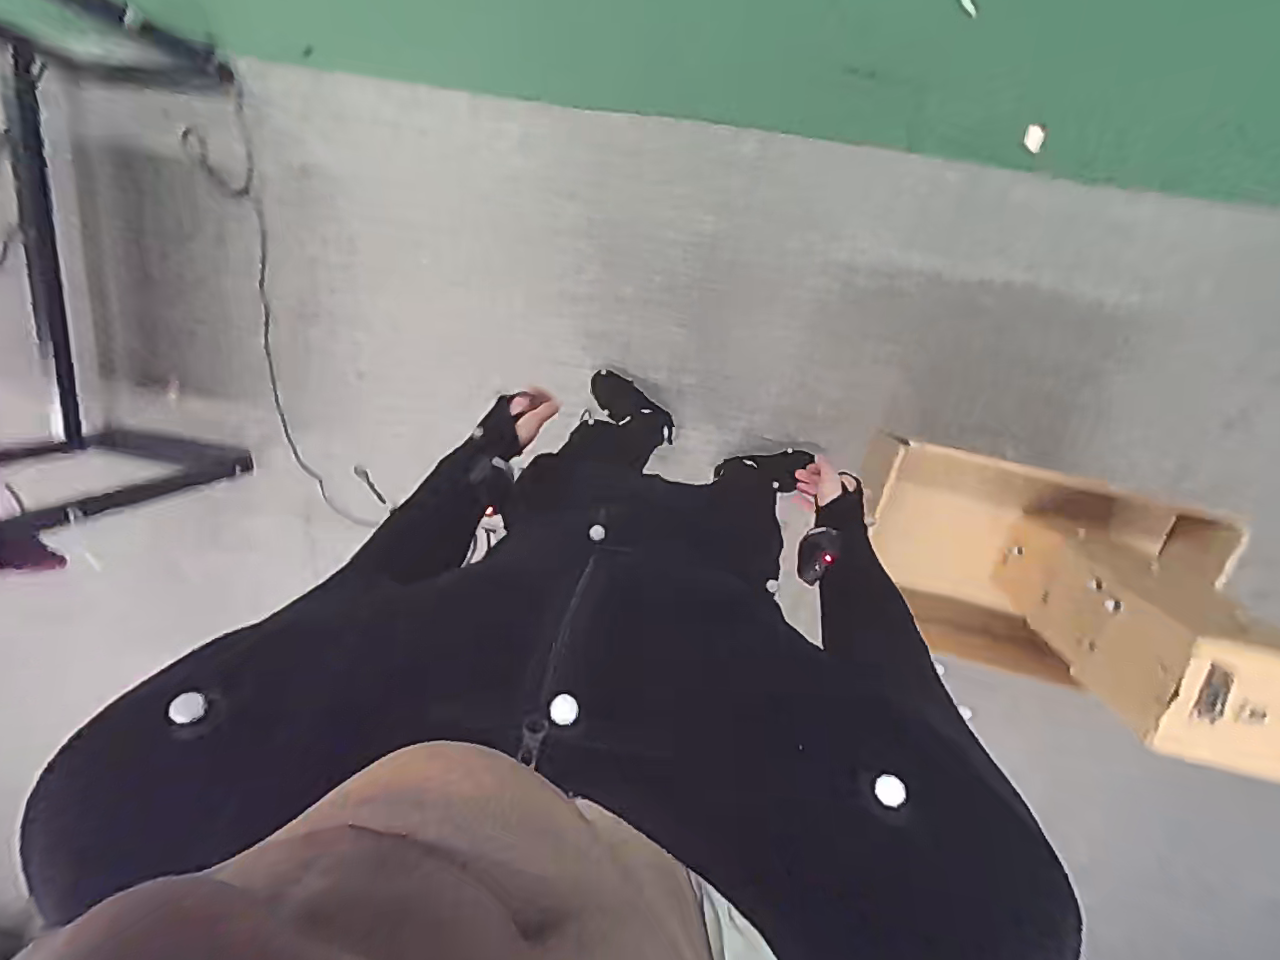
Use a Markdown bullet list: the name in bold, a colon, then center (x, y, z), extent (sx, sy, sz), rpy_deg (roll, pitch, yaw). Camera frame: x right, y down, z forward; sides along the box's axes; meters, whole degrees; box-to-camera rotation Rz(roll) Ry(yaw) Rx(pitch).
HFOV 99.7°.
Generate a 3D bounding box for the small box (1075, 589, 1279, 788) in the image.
- **small box**: center (0.751, 0.268, 0.734), extent (0.179, 0.176, 0.168), rpy_deg (13, 107, 6)

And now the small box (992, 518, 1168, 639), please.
- **small box**: center (0.830, 0.187, 1.043), extent (0.179, 0.176, 0.168), rpy_deg (15, 107, 7)
